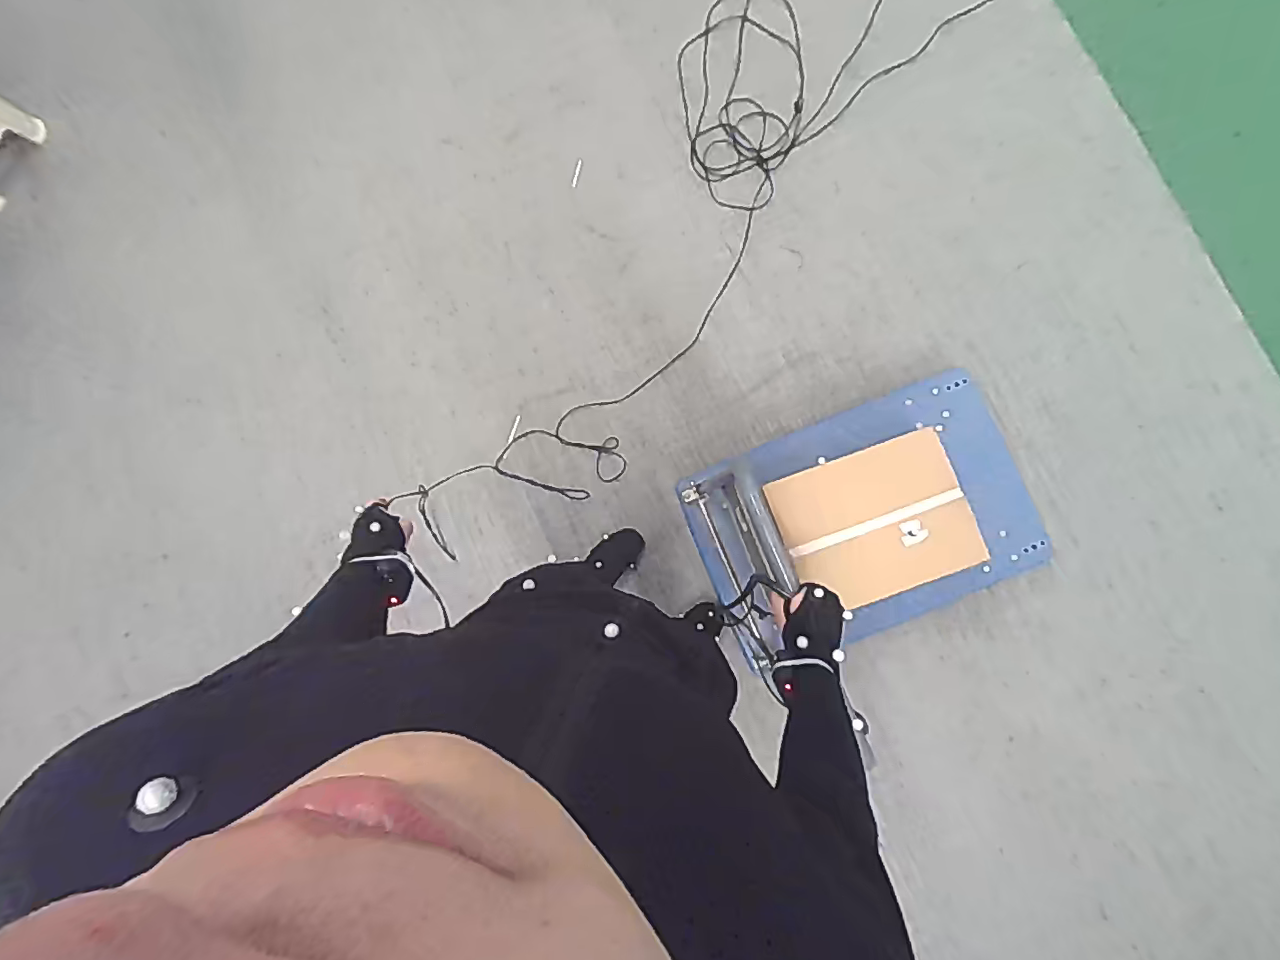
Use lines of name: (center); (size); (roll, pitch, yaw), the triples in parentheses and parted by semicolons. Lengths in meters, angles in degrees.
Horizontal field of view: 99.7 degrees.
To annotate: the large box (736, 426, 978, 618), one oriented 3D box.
large box: (0.494, 0.105, 1.322); (0.408, 0.320, 0.320); (-20, 85, -1)
